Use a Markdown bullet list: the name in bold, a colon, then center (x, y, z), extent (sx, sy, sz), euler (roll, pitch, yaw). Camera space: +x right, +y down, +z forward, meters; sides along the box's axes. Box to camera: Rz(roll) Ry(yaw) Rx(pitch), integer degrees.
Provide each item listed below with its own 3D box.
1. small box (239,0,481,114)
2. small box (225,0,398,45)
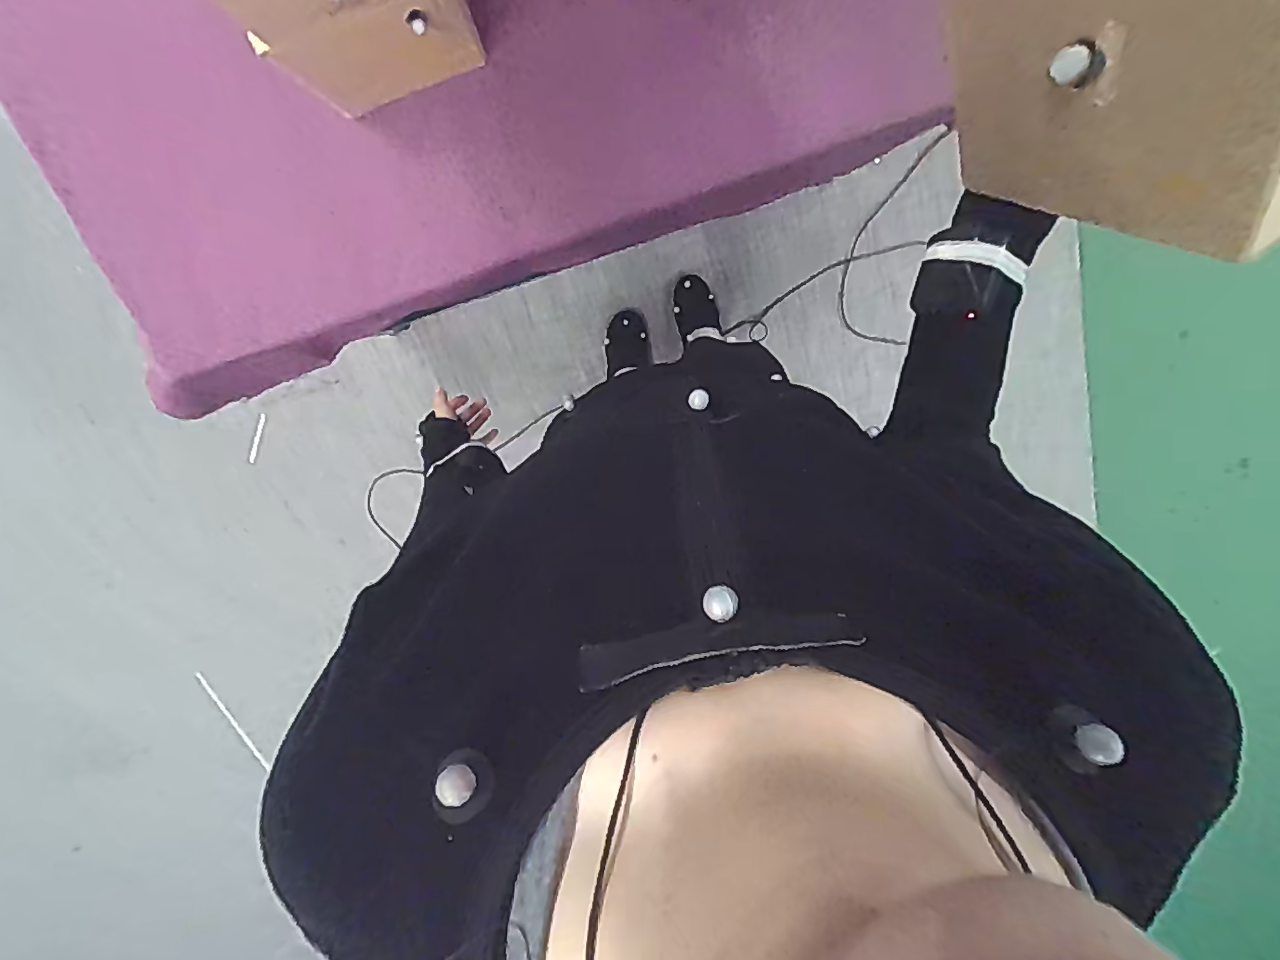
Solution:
- **small box**: center (-0.276, -0.487, 0.511), extent (0.179, 0.176, 0.168), euler (-21, 107, 2)
- **small box**: center (-0.260, -0.444, 0.352), extent (0.168, 0.176, 0.179), euler (-21, 107, 3)
